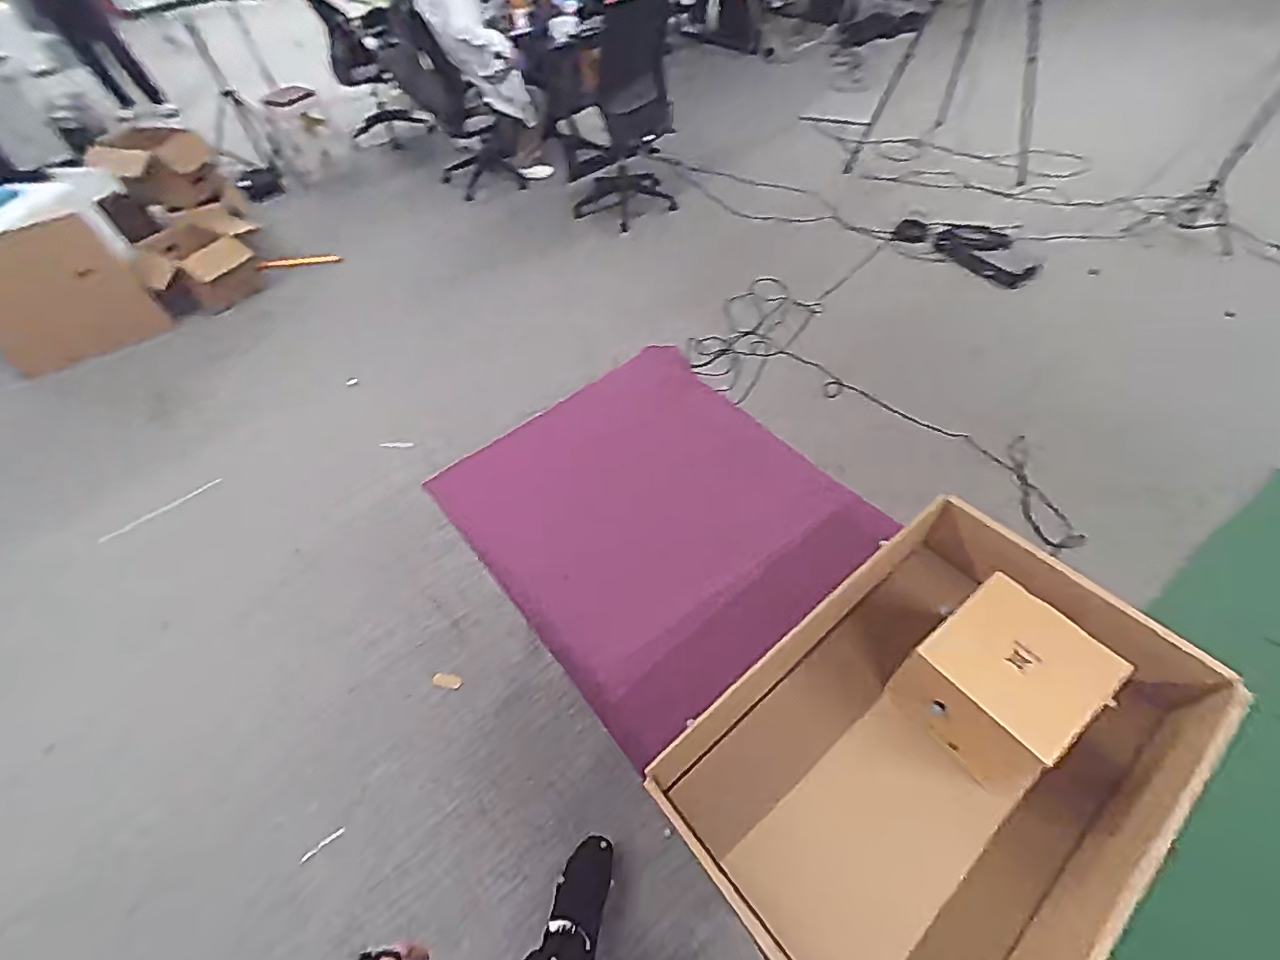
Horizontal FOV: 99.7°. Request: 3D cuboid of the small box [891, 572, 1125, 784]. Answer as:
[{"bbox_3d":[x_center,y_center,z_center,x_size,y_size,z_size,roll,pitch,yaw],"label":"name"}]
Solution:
[{"bbox_3d":[0.459,0.262,0.708,0.179,0.176,0.168,-32,55,-18],"label":"small box"}]
